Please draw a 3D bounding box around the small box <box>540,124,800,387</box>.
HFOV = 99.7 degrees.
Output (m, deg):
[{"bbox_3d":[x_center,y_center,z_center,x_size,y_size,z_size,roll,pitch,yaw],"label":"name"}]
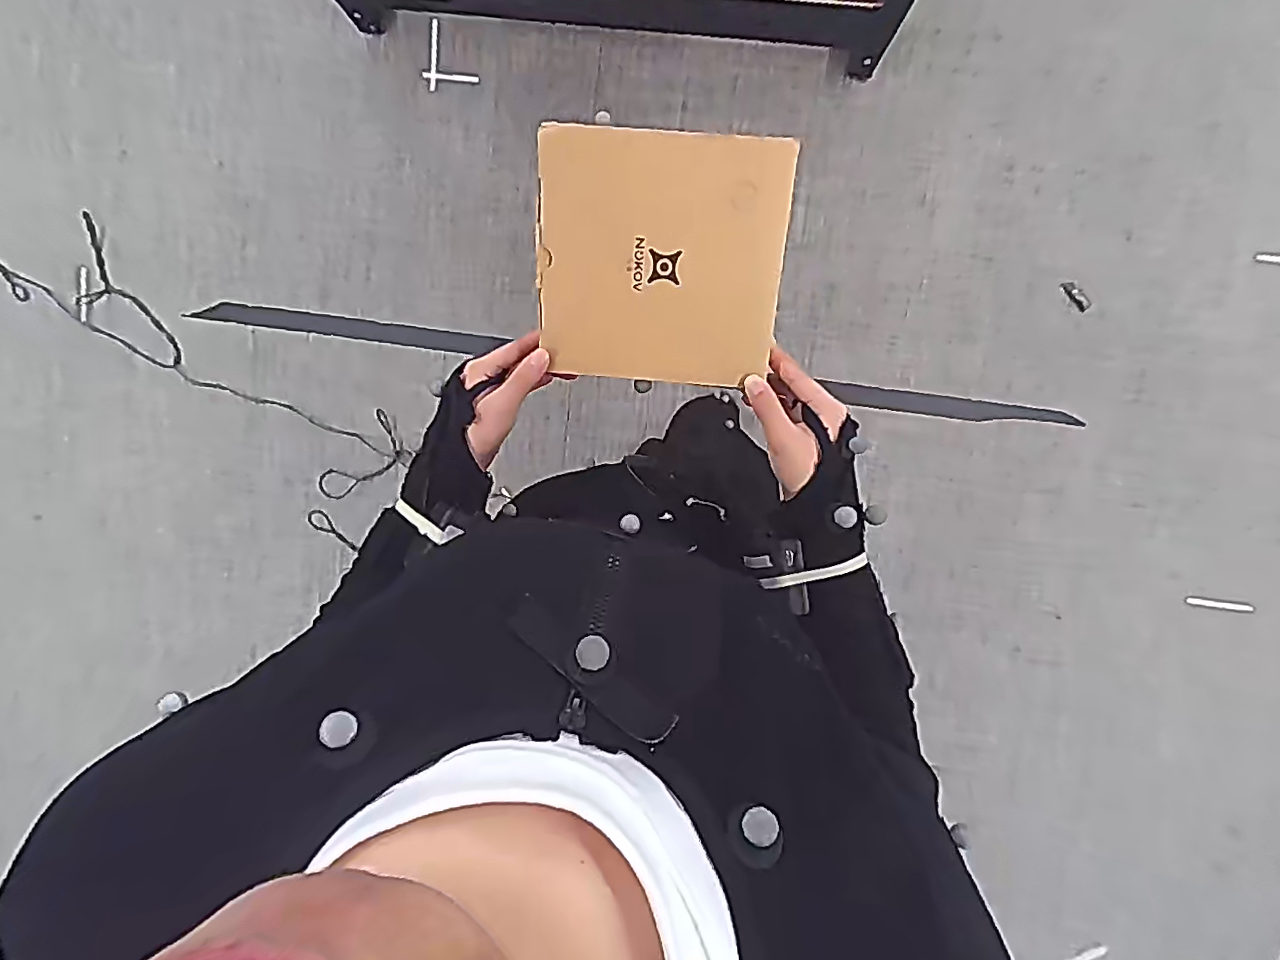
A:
[{"bbox_3d":[0.021,-0.183,0.460,0.179,0.176,0.168,5,111,4],"label":"small box"}]
